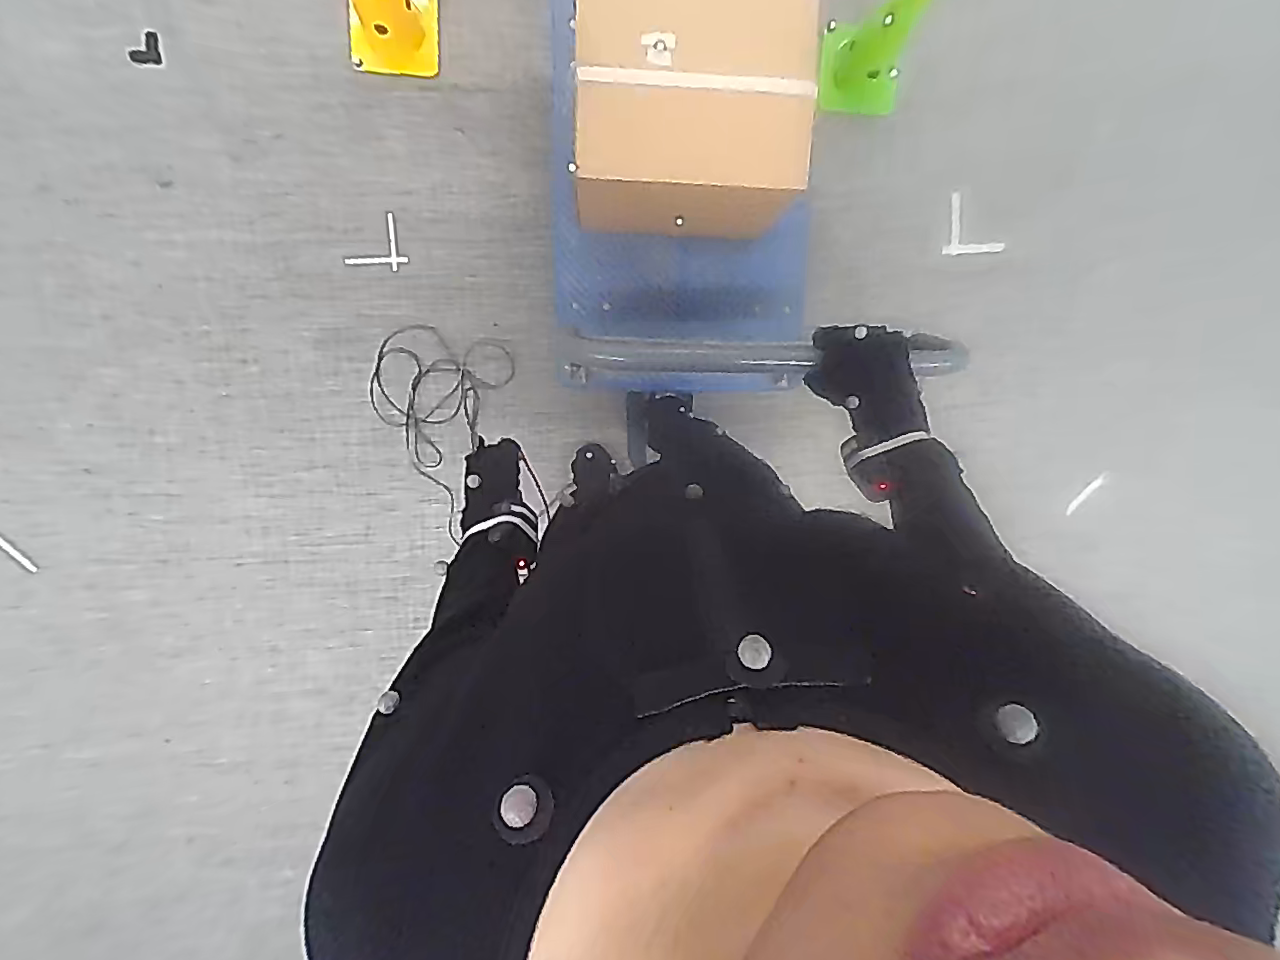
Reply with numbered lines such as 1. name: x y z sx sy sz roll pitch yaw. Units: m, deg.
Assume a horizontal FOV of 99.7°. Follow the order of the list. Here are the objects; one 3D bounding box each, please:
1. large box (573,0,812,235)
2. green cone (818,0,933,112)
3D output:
1. large box: 0.081 -0.683 1.056 0.408 0.320 0.320 1 98 -4
2. green cone: 0.565 -1.018 1.191 0.202 0.368 0.200 2 98 -6
